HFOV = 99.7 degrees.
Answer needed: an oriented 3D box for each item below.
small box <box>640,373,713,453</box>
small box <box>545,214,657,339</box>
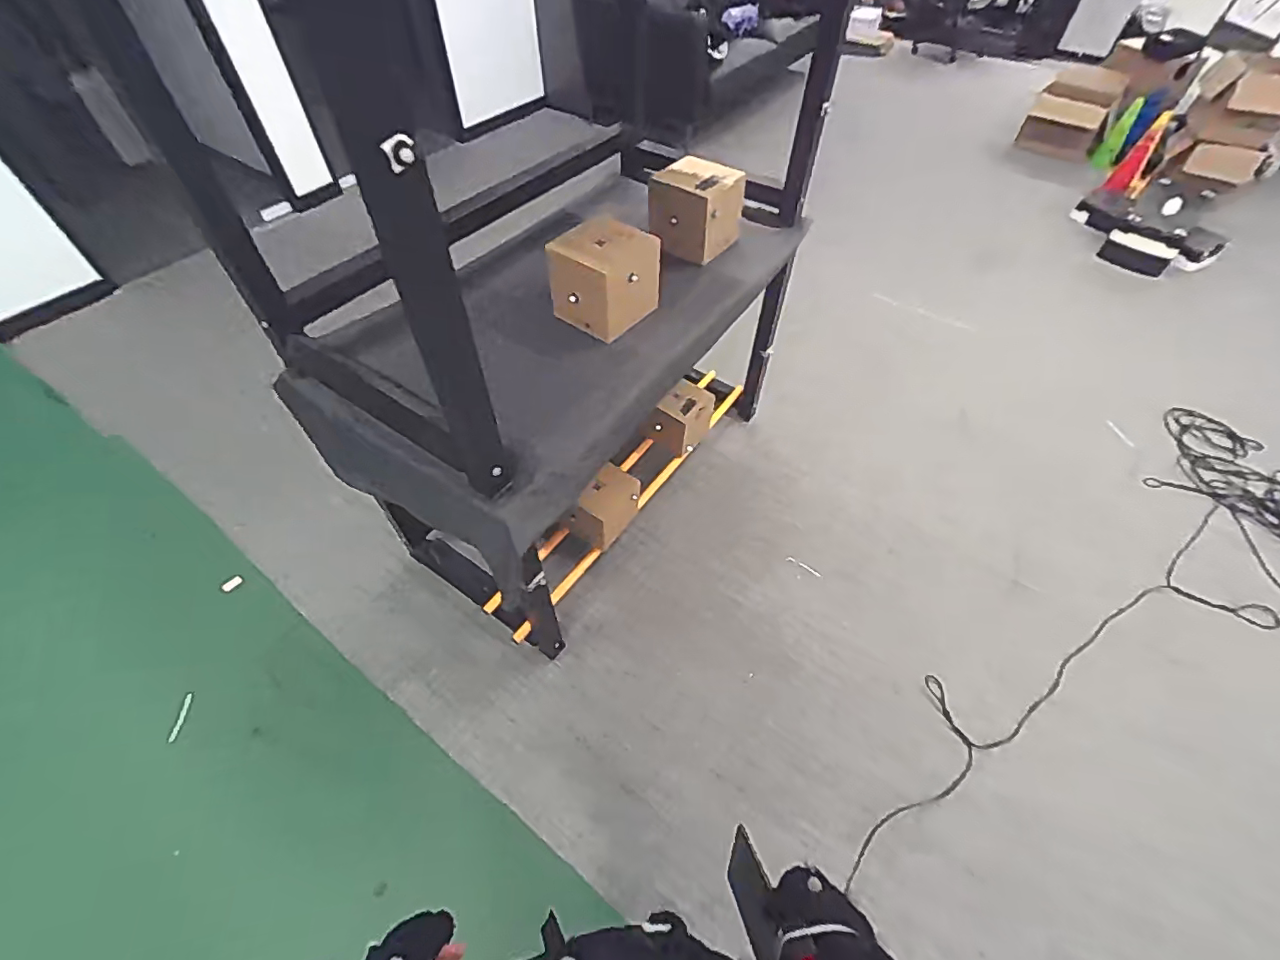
[{"bbox_3d":[0.116,-0.214,1.785,0.179,0.176,0.168,33,58,22],"label":"small box"},{"bbox_3d":[-0.077,-0.435,1.163,0.168,0.176,0.179,33,58,22],"label":"small box"}]
